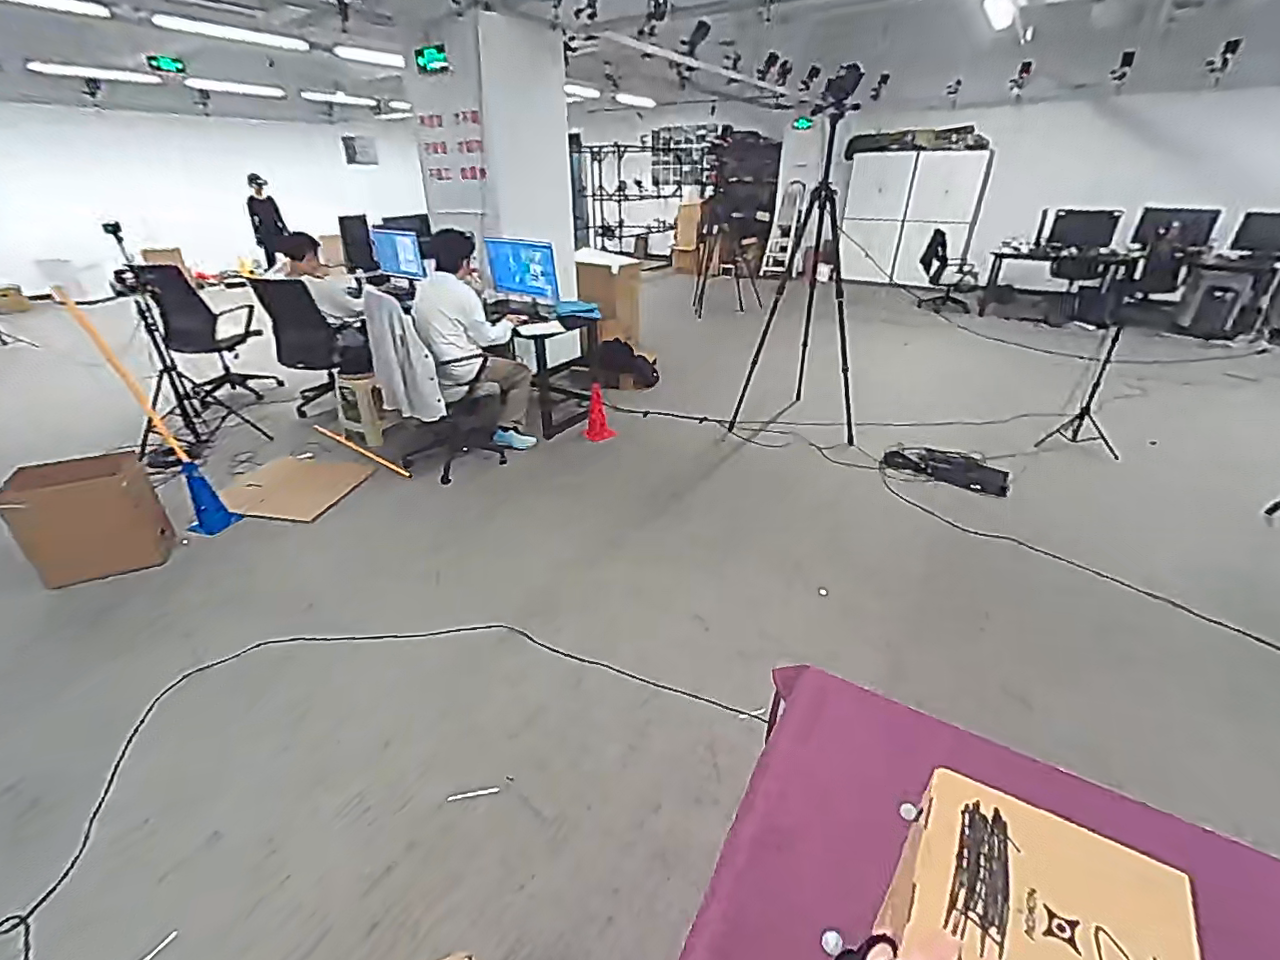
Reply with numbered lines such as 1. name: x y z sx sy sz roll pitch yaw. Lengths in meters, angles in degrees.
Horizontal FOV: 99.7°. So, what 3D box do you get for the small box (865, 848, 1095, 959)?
1. small box: 0.321 0.535 0.544 0.179 0.176 0.168 18 35 31
